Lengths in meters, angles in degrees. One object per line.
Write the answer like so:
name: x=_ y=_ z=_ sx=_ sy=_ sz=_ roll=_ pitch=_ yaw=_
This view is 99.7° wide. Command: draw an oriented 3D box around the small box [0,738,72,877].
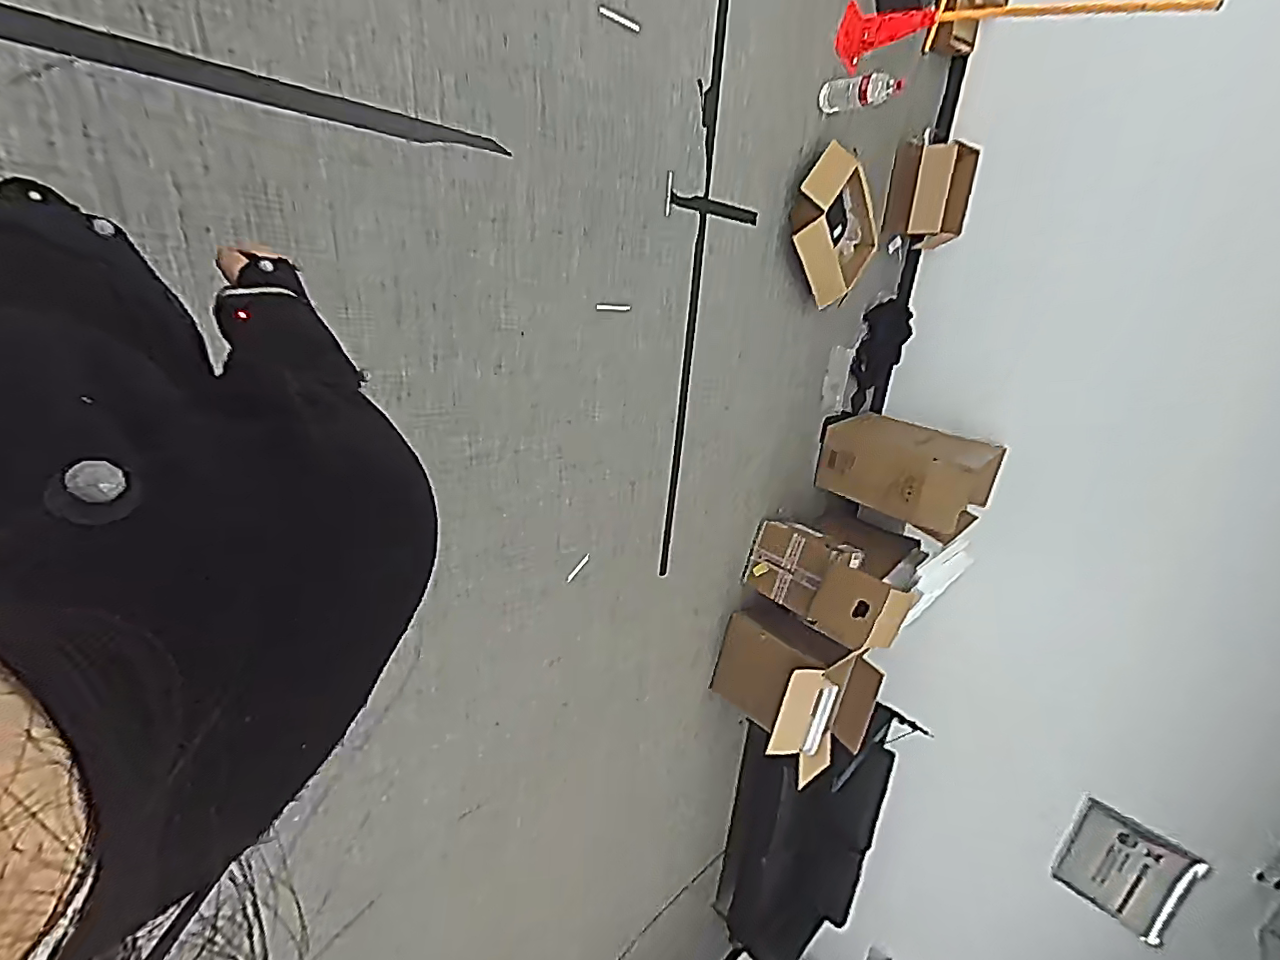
small box: x=-1.291 y=0.666 z=1.085 sx=0.168 sy=0.176 sz=0.179 roll=-27 pitch=125 yaw=-38
